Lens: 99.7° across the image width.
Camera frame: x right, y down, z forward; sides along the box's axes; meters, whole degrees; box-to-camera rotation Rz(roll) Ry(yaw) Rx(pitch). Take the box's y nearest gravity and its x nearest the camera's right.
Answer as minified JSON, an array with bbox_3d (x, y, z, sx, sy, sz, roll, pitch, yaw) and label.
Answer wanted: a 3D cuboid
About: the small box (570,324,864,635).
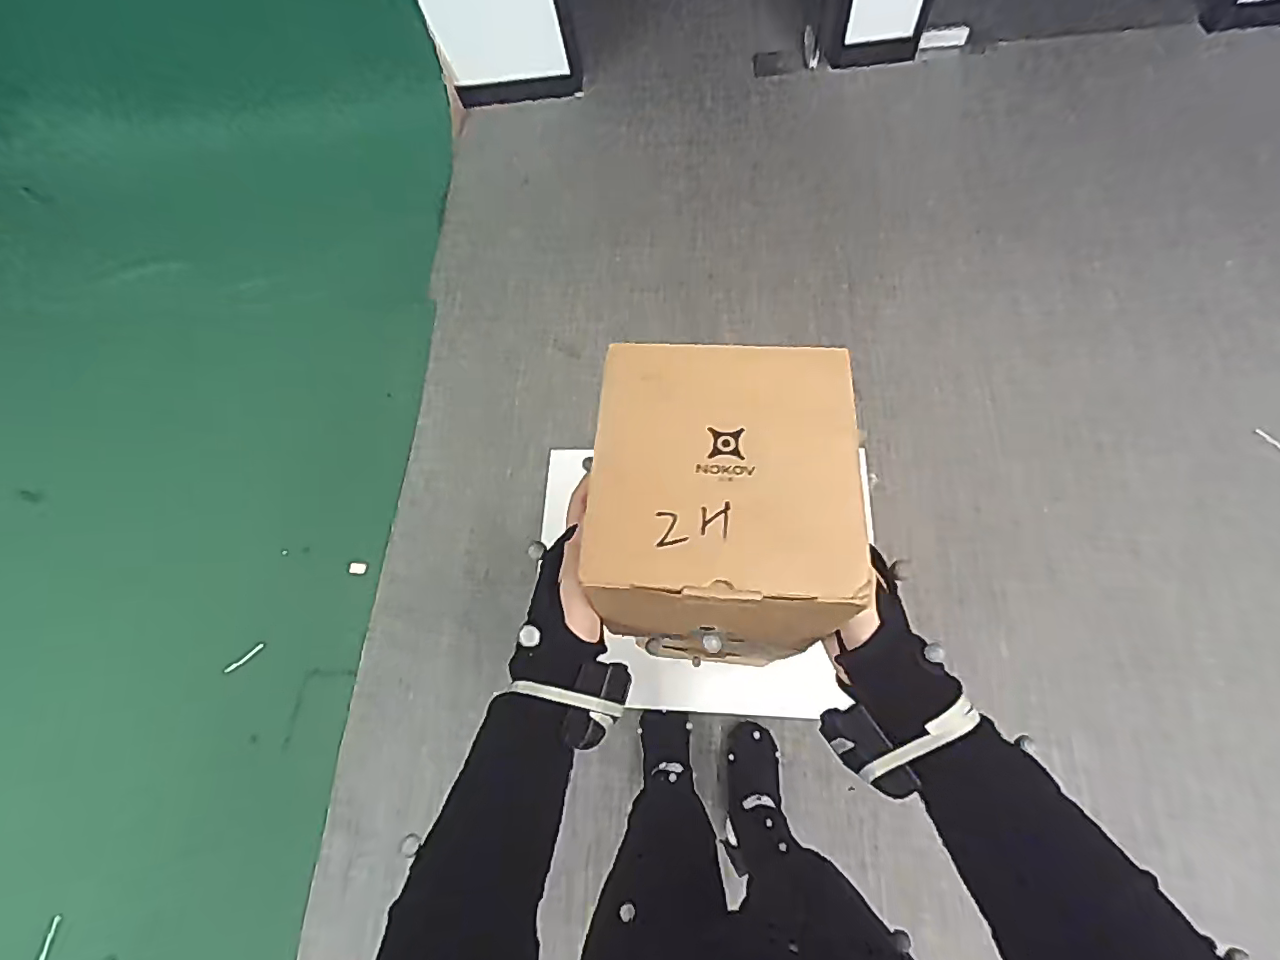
[{"bbox_3d":[0.055,0.007,0.406,0.168,0.176,0.179,2,65,7],"label":"small box"}]

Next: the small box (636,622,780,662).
[{"bbox_3d":[0.092,0.137,0.713,0.168,0.176,0.179,2,69,9],"label":"small box"}]
